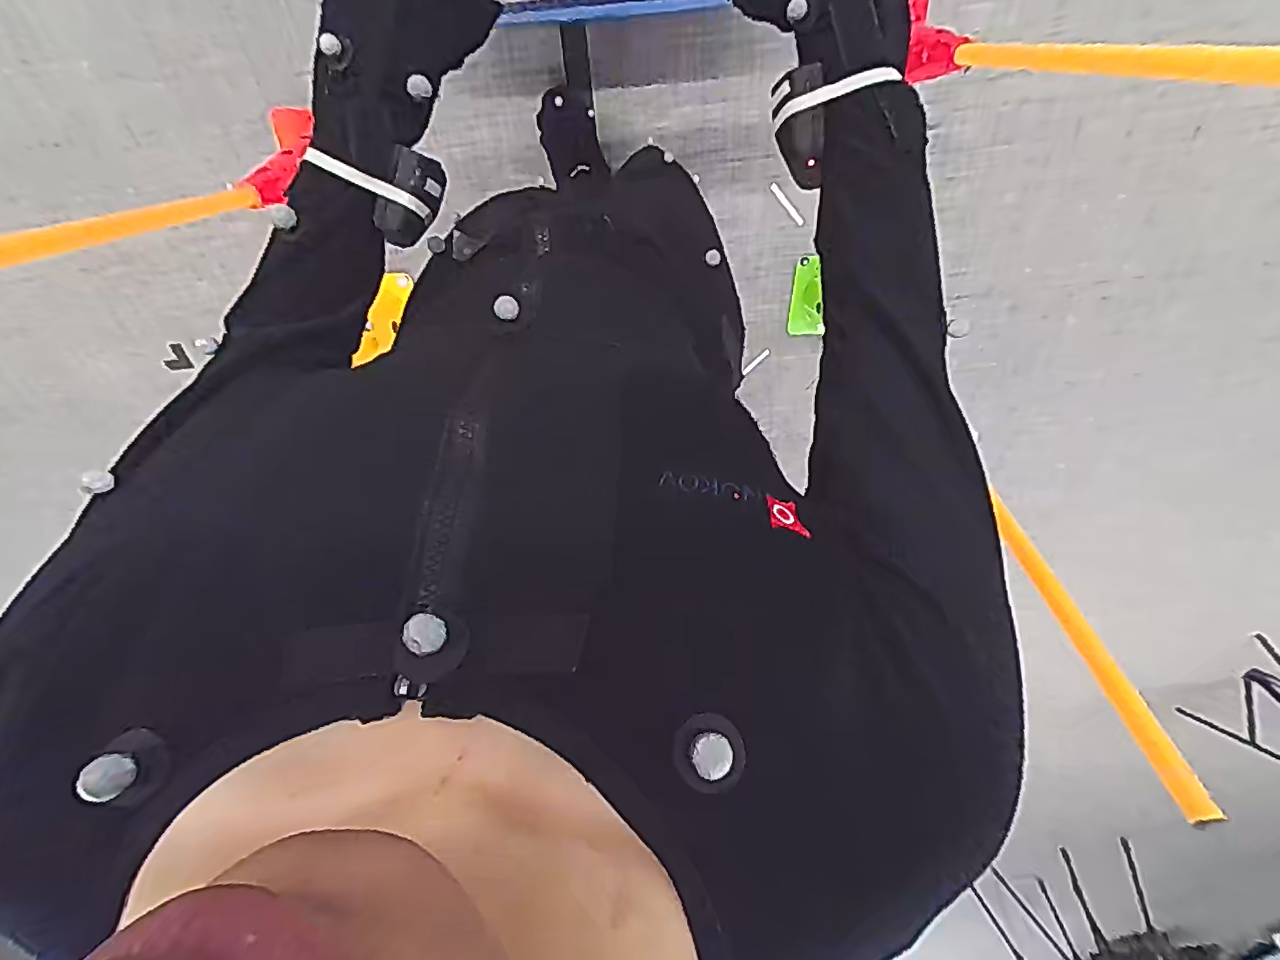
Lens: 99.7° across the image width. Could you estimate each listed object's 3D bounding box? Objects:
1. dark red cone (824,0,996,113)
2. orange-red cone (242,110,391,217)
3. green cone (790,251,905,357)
[{"bbox_3d":[0.475,-0.745,0.927,0.201,0.394,0.202,-7,128,0],"label":"dark red cone"},{"bbox_3d":[-0.642,-0.575,1.024,0.198,0.360,0.199,0,126,-4],"label":"orange-red cone"},{"bbox_3d":[0.500,-0.370,1.235,0.202,0.368,0.200,-3,127,-2],"label":"green cone"}]
